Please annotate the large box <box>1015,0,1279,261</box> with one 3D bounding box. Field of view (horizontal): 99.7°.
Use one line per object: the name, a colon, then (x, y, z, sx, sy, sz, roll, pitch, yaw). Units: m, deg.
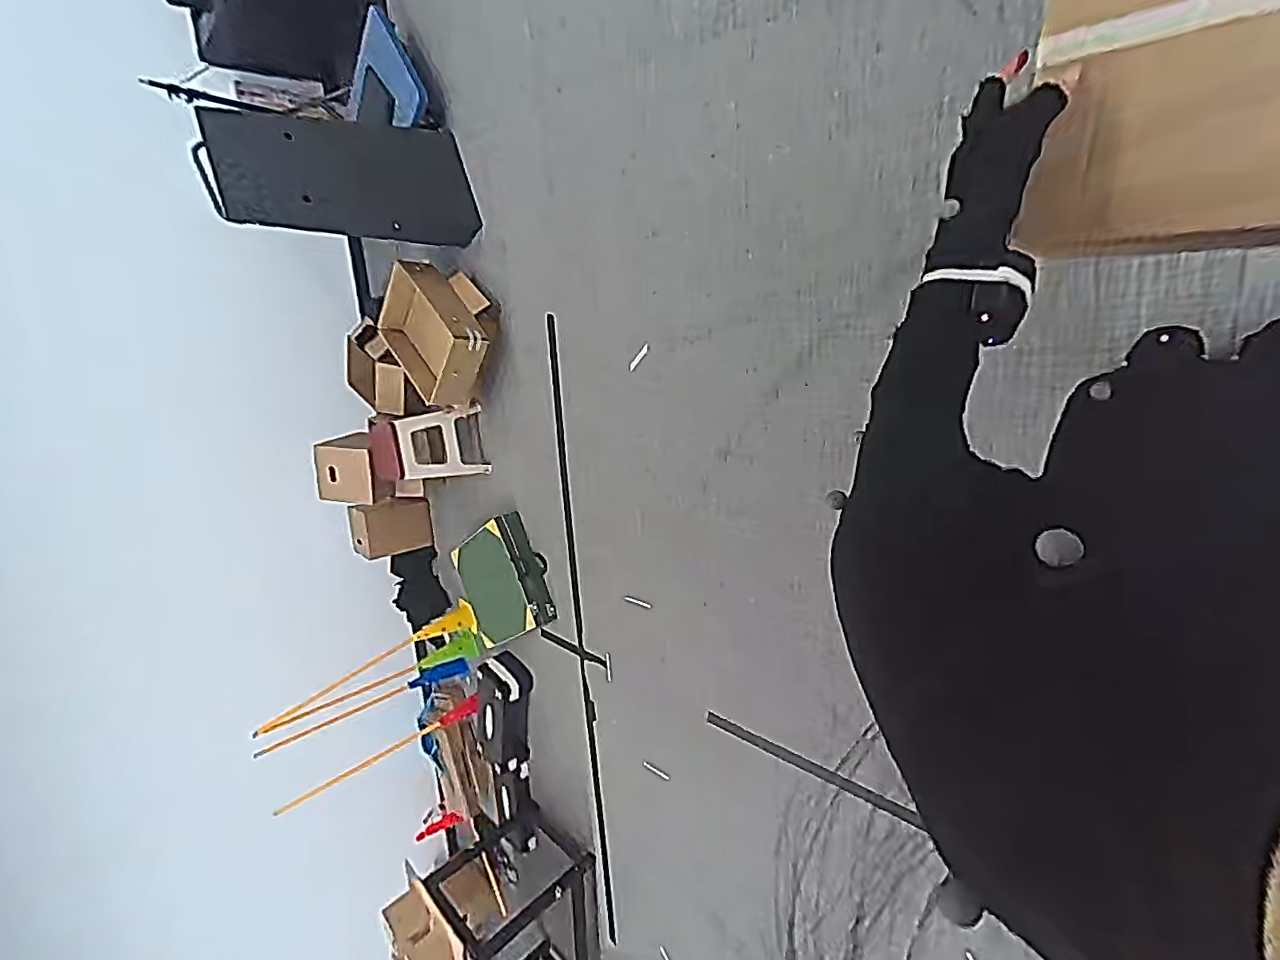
large box: (0.595, -0.377, 0.458, 0.408, 0.320, 0.320, 12, 113, 39)
